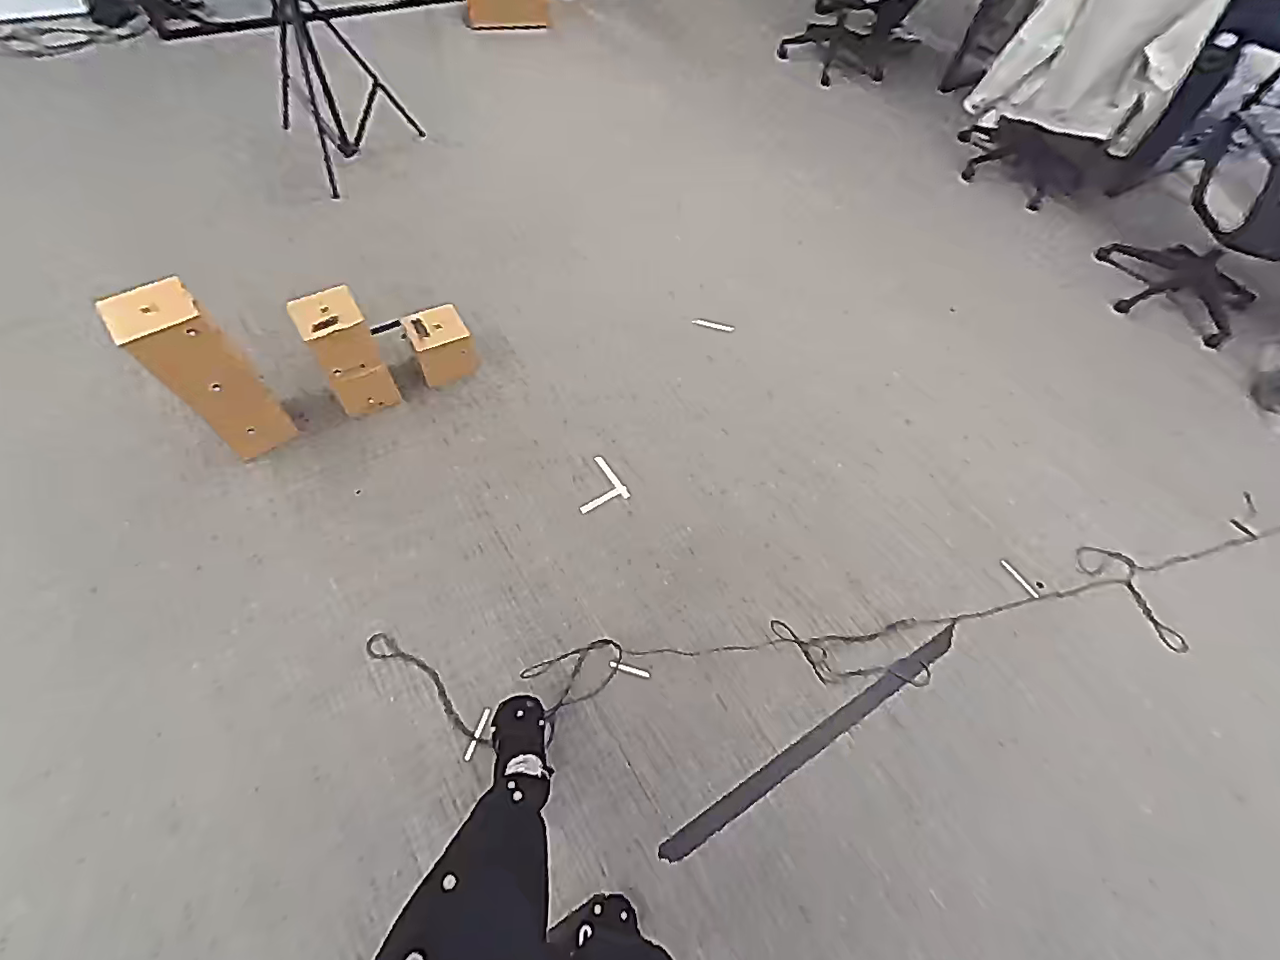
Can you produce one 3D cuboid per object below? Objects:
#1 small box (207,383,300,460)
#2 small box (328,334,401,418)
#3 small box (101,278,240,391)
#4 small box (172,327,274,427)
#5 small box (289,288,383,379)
[{"bbox_3d":[-1.161,-0.189,1.605,0.179,0.176,0.168,-36,69,-22],"label":"small box"},{"bbox_3d":[-0.884,-0.328,1.714,0.168,0.176,0.179,-25,65,-18],"label":"small box"},{"bbox_3d":[-1.139,-0.351,1.323,0.179,0.176,0.168,-34,69,-22],"label":"small box"},{"bbox_3d":[-1.145,-0.274,1.466,0.179,0.176,0.168,-34,69,-23],"label":"small box"},{"bbox_3d":[-0.878,-0.418,1.576,0.168,0.176,0.179,-28,65,-20],"label":"small box"}]
